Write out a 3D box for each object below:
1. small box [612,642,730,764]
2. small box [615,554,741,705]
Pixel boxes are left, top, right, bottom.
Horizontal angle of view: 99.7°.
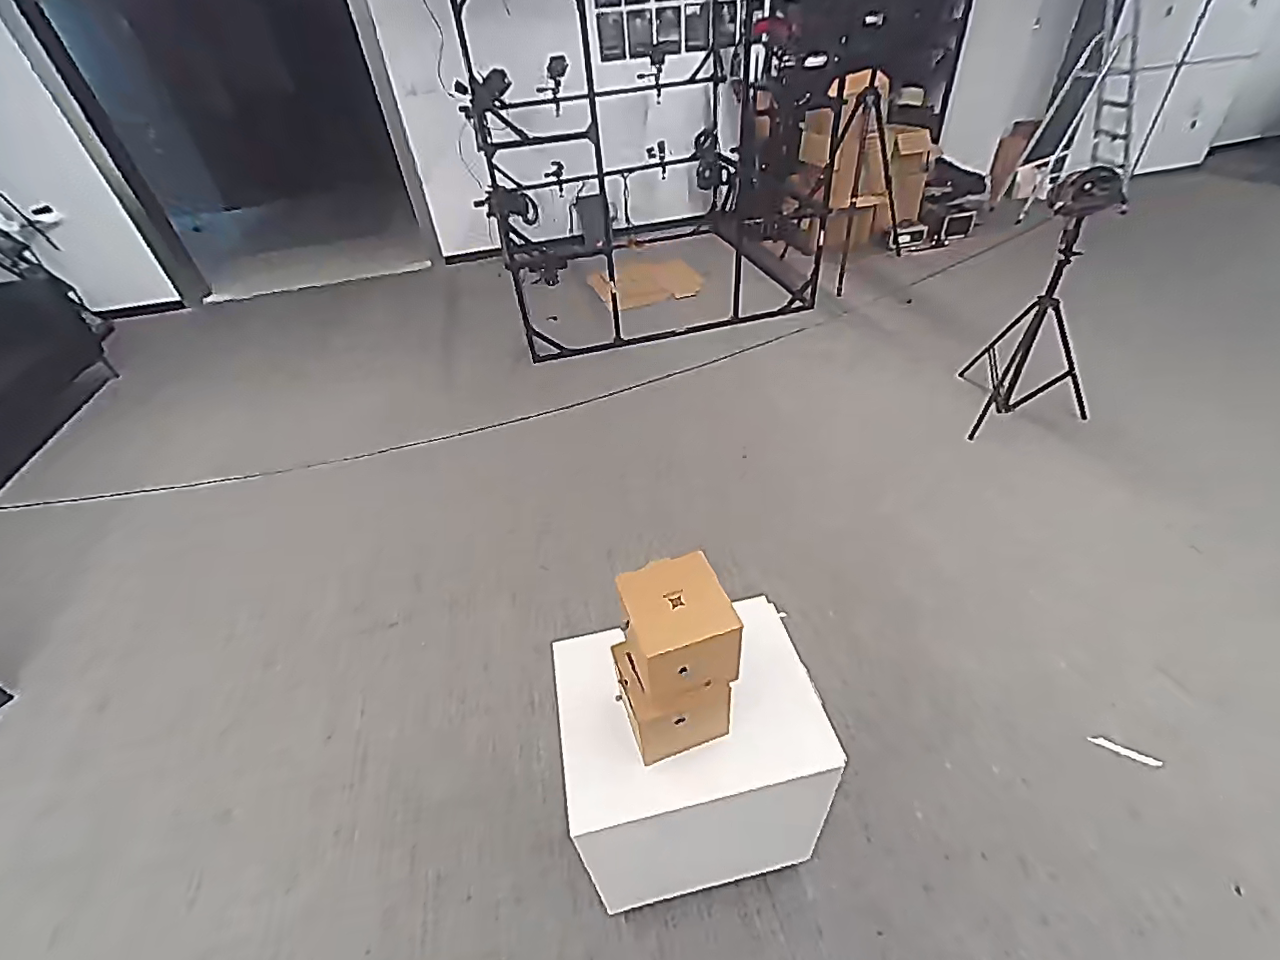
[{"bbox_3d":[0.060,0.405,1.031,0.179,0.176,0.168,-15,41,-12],"label":"small box"},{"bbox_3d":[0.066,0.265,0.944,0.168,0.176,0.179,-15,40,-11],"label":"small box"}]
